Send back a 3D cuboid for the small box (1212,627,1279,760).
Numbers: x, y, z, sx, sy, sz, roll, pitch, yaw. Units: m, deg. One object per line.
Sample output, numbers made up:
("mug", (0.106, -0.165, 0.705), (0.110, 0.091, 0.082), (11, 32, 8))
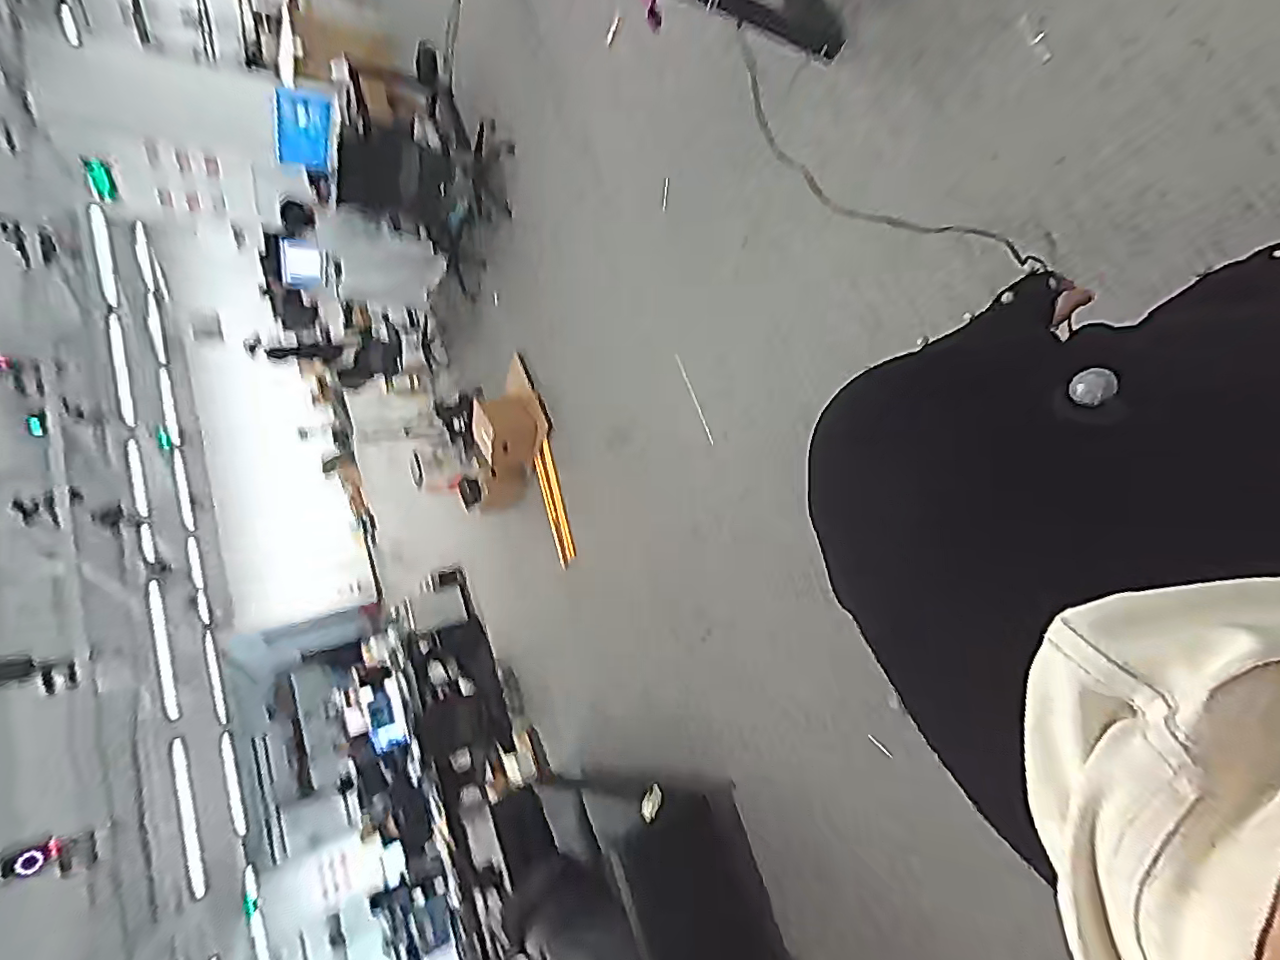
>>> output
("small box", (1.118, 0.354, 0.911), (0.168, 0.176, 0.179), (-26, 80, 53))
